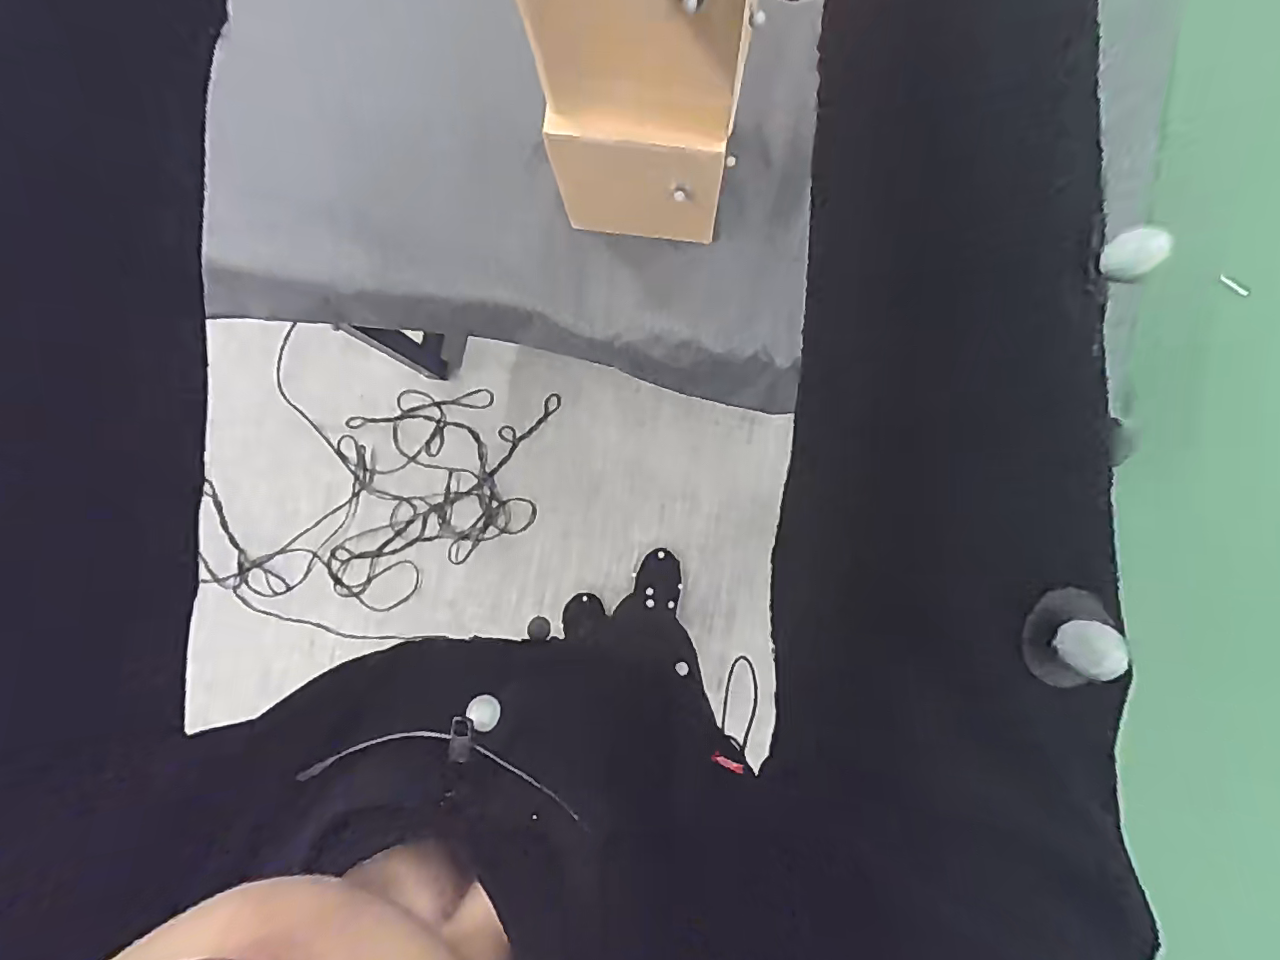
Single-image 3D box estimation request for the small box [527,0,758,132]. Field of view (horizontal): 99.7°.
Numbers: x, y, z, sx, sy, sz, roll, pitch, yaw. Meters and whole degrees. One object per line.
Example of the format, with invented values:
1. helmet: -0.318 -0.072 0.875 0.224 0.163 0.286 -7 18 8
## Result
1. small box: 0.008 -0.415 0.428 0.179 0.176 0.168 11 86 3
